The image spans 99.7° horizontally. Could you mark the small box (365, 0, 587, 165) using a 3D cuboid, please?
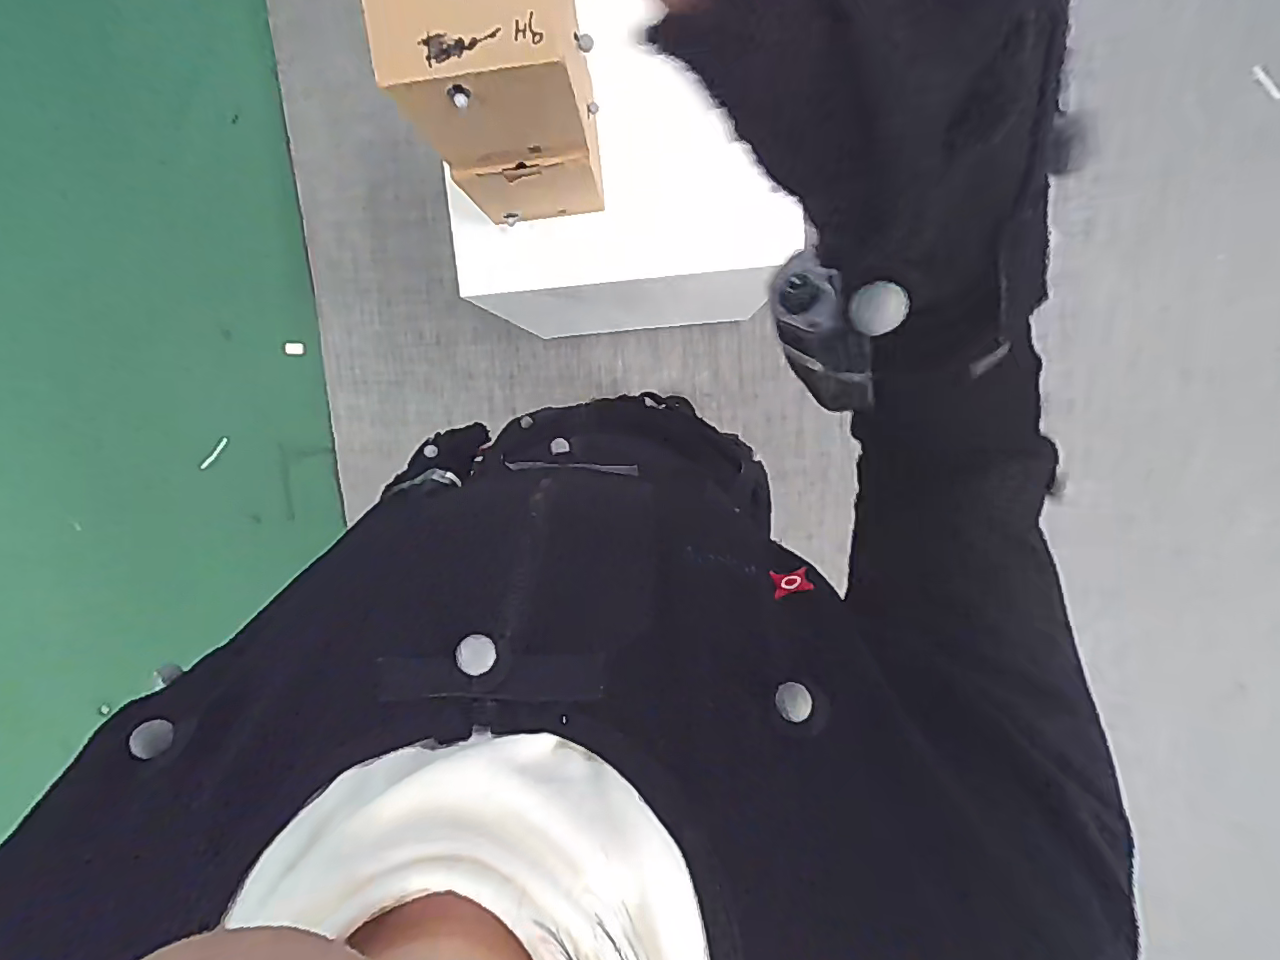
[{"bbox_3d":[-0.150,-0.445,0.529,0.168,0.176,0.179,-5,97,4],"label":"small box"}]

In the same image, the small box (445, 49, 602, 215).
[{"bbox_3d":[-0.145,-0.458,0.692,0.168,0.176,0.179,-5,97,3],"label":"small box"}]
